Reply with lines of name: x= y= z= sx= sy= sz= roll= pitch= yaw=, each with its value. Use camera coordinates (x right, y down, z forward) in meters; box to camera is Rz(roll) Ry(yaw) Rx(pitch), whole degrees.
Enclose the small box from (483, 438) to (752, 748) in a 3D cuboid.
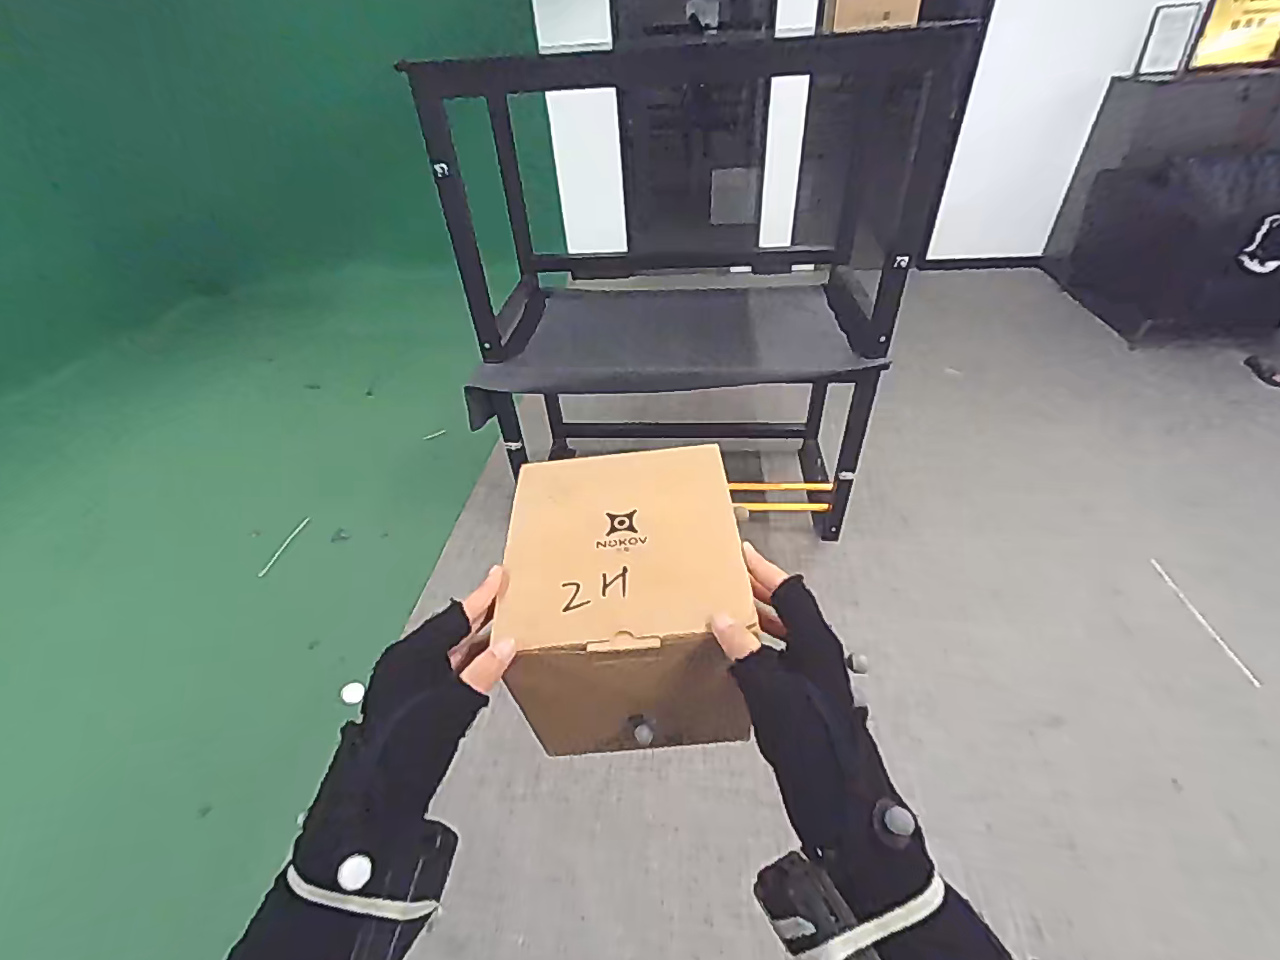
small box: x=-0.008 y=0.090 z=0.437 sx=0.168 sy=0.176 sz=0.179 roll=-6 pitch=42 yaw=3
